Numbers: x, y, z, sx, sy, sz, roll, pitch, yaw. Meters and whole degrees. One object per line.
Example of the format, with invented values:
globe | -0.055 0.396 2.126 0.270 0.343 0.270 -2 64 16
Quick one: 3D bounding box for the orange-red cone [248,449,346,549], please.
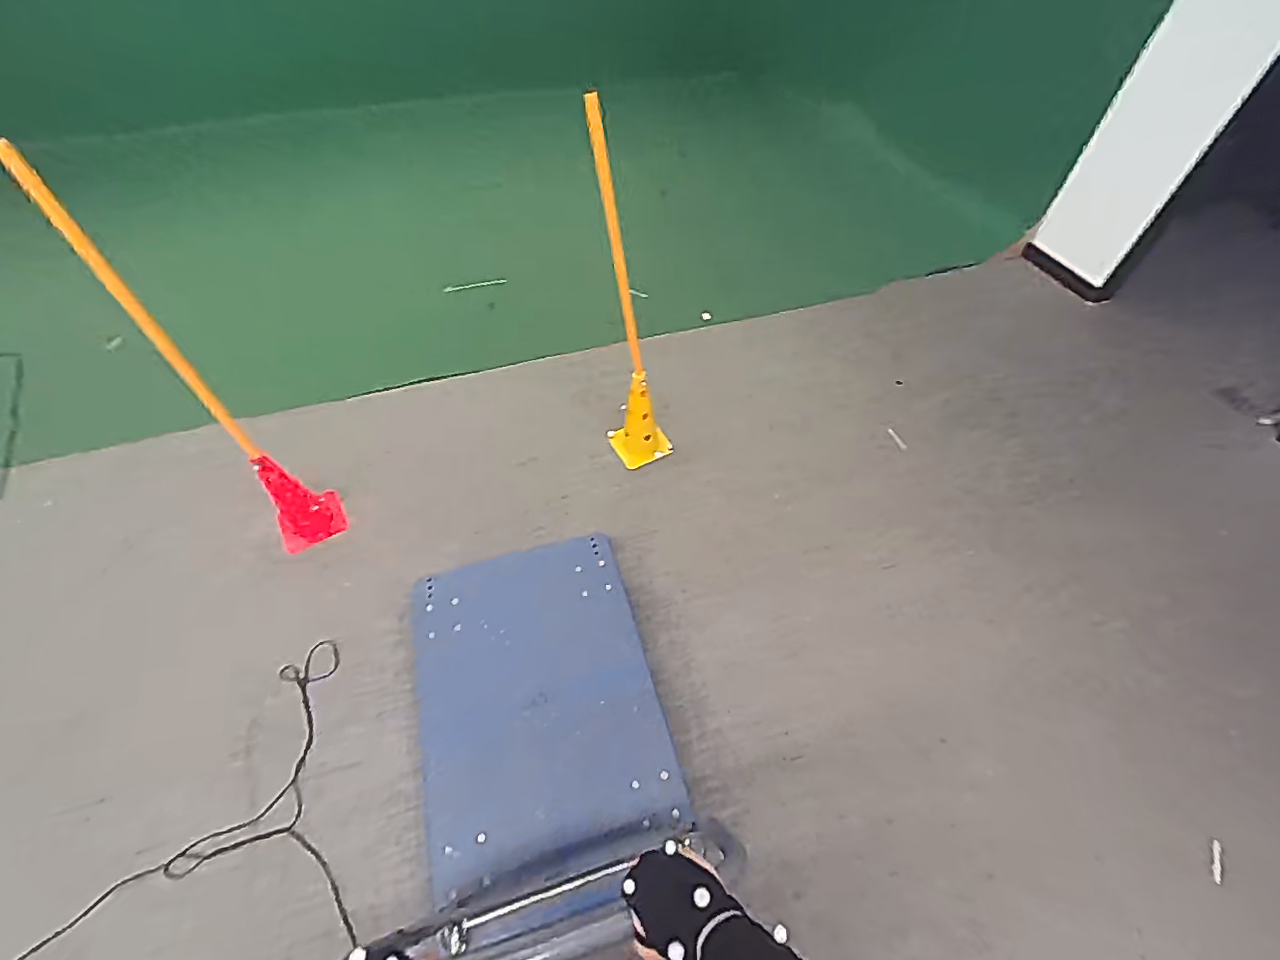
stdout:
orange-red cone | -1.128 0.030 1.721 0.199 0.360 0.198 -27 57 -18
